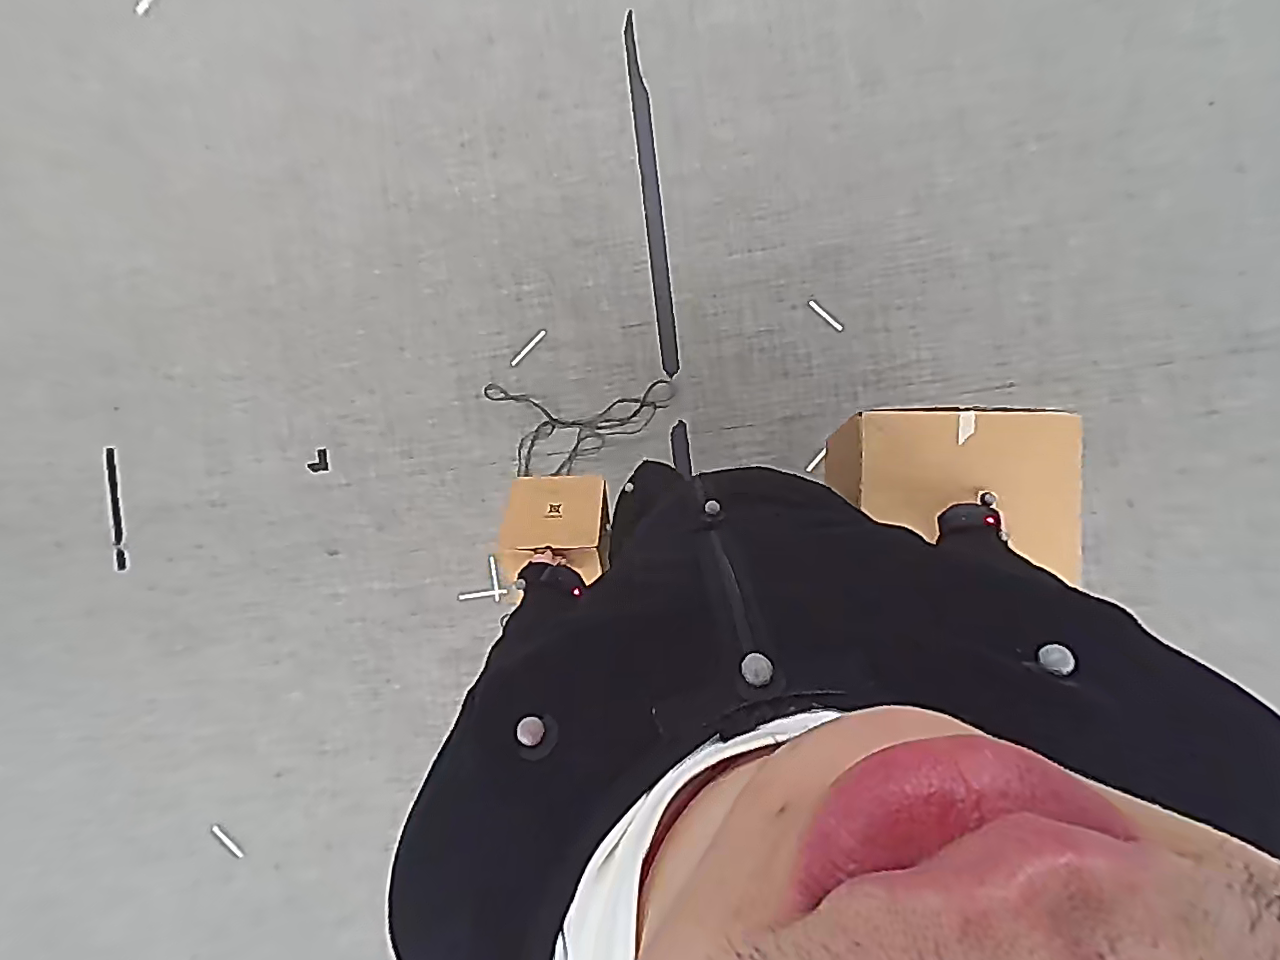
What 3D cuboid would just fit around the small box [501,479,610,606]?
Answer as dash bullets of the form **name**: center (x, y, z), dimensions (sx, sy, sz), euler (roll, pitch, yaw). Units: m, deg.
- **small box**: center (-0.144, 0.118, 1.000), dimensions (0.168, 0.179, 0.176), euler (-1, 132, 1)
